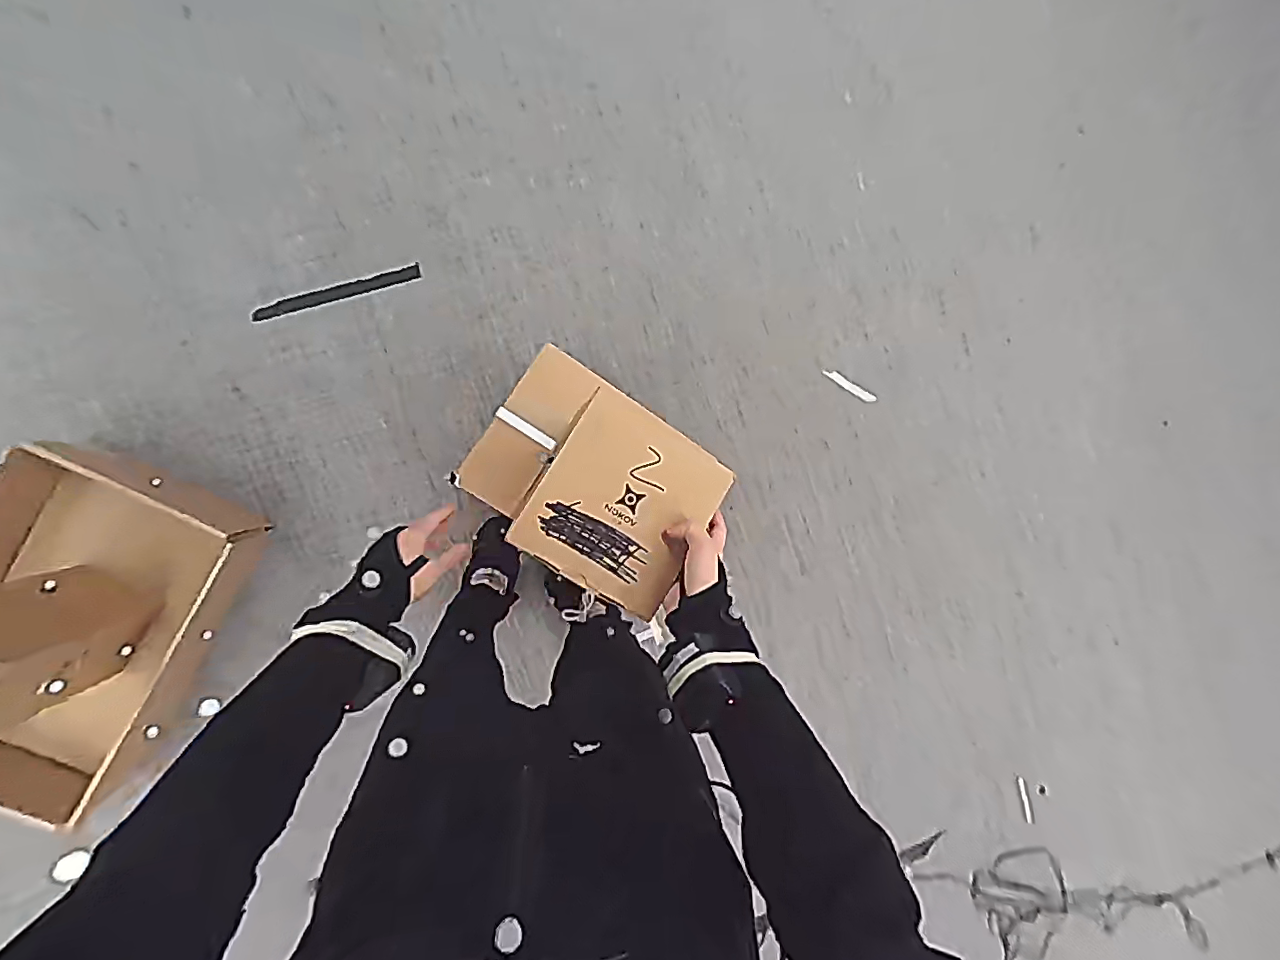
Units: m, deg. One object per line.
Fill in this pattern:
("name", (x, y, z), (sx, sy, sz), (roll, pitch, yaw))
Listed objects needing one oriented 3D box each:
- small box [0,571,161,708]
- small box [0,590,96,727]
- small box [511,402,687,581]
("small box", (-1.087, 0.288, 1.023), (0.179, 0.176, 0.168), (32, 87, -10))
("small box", (-1.060, 0.293, 0.864), (0.179, 0.176, 0.168), (31, 88, -11))
("small box", (-0.062, 0.014, 0.769), (0.168, 0.176, 0.179), (34, 86, -10))
